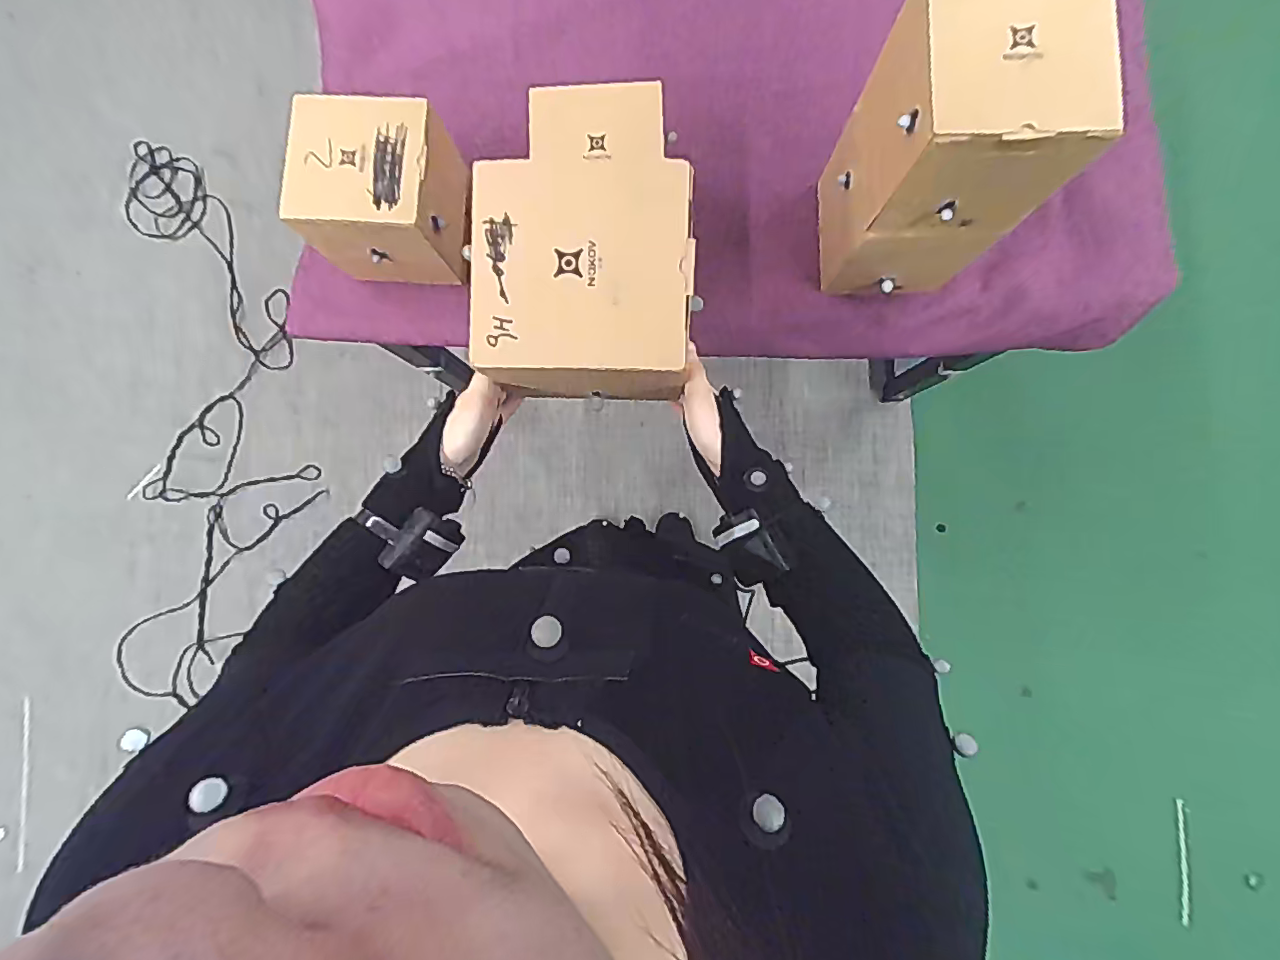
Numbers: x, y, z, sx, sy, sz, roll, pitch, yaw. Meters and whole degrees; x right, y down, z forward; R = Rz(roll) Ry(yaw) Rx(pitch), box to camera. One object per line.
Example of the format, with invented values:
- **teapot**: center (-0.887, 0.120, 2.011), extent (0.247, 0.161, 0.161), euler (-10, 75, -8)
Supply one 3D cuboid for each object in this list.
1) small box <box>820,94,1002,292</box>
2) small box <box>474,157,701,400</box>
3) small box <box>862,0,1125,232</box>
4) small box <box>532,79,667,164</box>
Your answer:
- **small box**: center (0.345, -0.370, 0.719), extent (0.168, 0.176, 0.179), euler (0, 87, 1)
- **small box**: center (-0.041, -0.170, 0.505), extent (0.179, 0.176, 0.168), euler (2, 89, 1)
- **small box**: center (0.342, -0.384, 0.558), extent (0.168, 0.176, 0.179), euler (-1, 87, 2)
- **small box**: center (-0.048, -0.395, 0.734), extent (0.168, 0.176, 0.179), euler (-2, 85, 2)
